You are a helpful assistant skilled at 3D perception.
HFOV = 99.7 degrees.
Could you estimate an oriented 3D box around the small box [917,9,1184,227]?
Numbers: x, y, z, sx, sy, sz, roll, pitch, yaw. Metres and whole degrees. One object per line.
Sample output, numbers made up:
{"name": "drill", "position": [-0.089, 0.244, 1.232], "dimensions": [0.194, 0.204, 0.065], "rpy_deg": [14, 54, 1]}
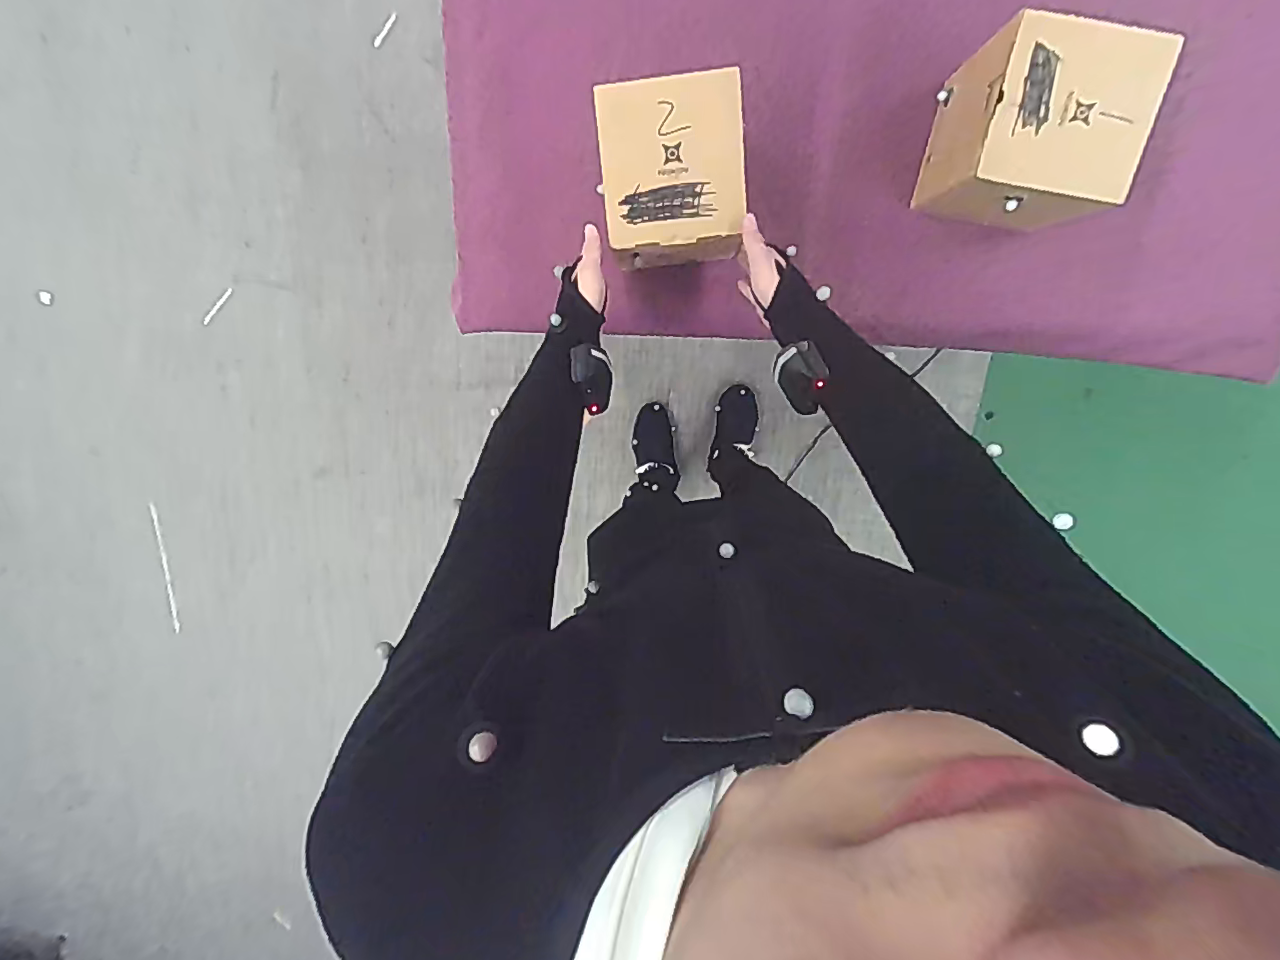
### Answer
{"name": "small box", "position": [0.477, -0.425, 0.666], "dimensions": [0.179, 0.176, 0.168], "rpy_deg": [10, 106, -1]}
